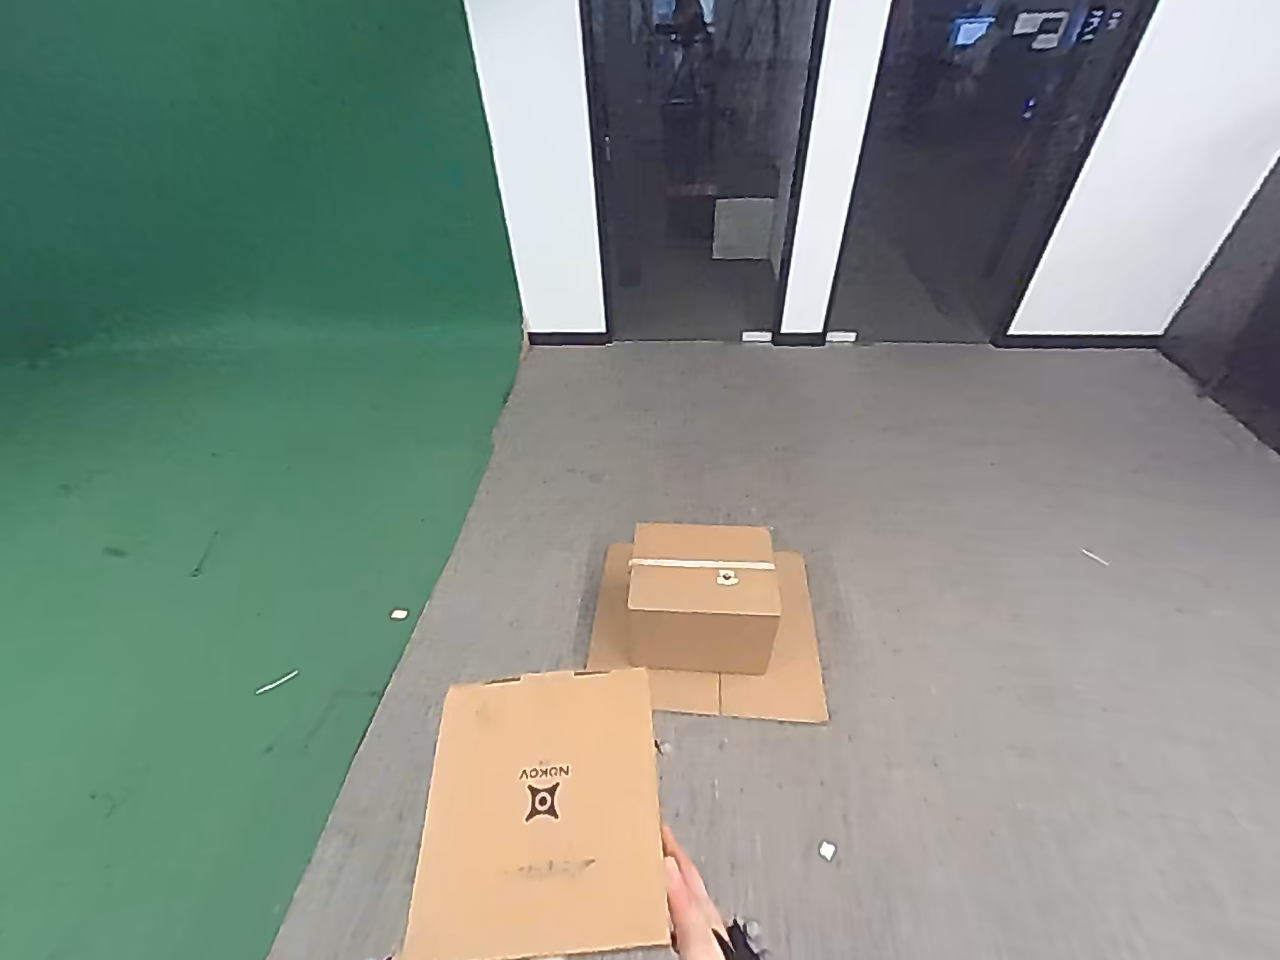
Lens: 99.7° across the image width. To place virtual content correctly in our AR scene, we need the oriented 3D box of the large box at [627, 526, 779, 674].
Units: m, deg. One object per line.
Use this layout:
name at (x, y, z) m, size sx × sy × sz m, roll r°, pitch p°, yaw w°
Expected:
large box at (0.170, 0.357, 1.612) m, size 0.408 × 0.320 × 0.320 m, roll 2°, pitch 43°, yaw 3°
